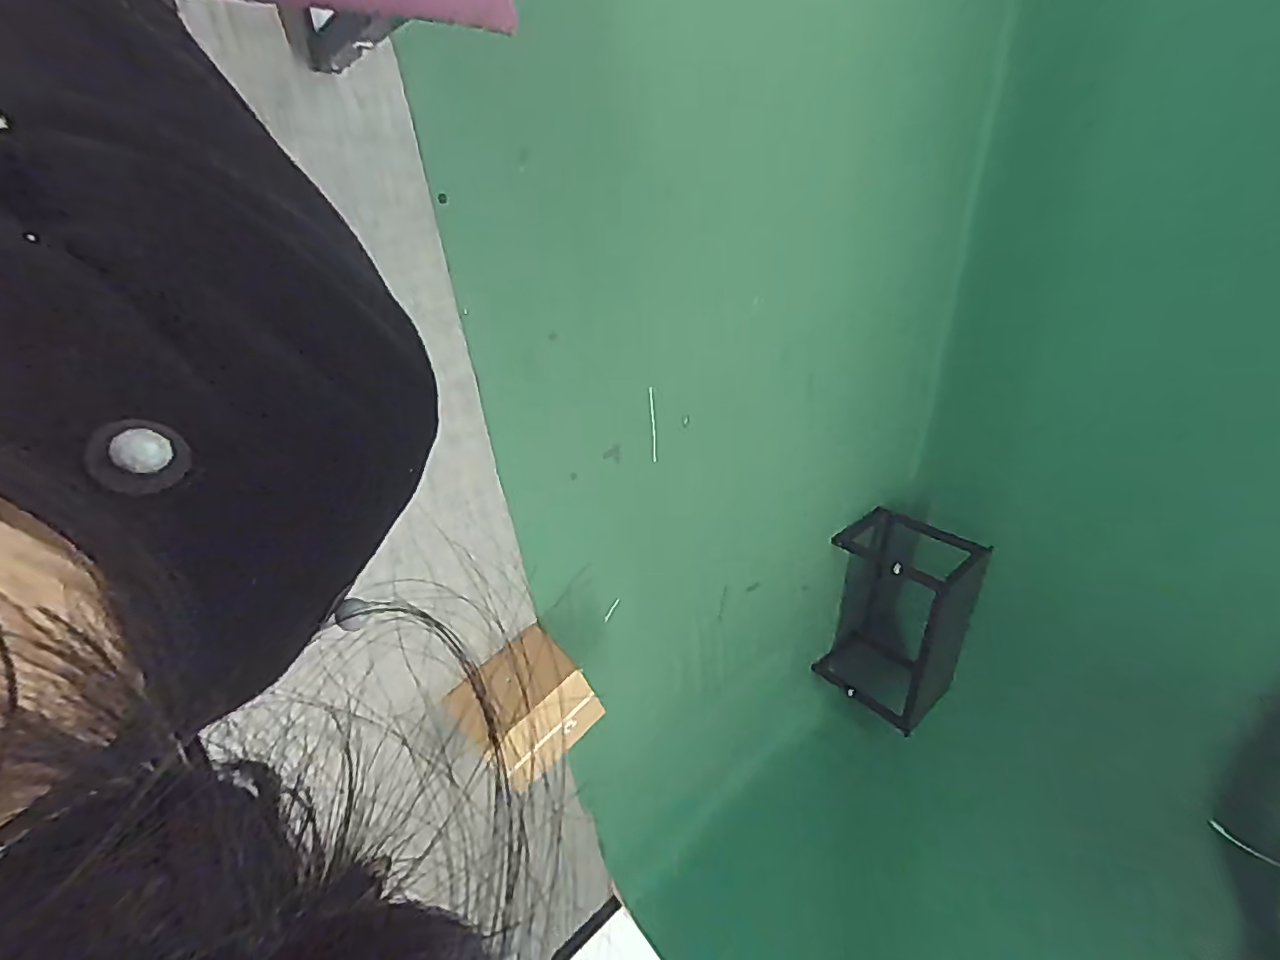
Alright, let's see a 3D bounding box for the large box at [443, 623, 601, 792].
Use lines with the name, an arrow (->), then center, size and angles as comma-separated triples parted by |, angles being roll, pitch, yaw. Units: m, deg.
large box -> -0.424, 0.815, 1.971 | 0.408, 0.320, 0.320 | -39, 132, -24
